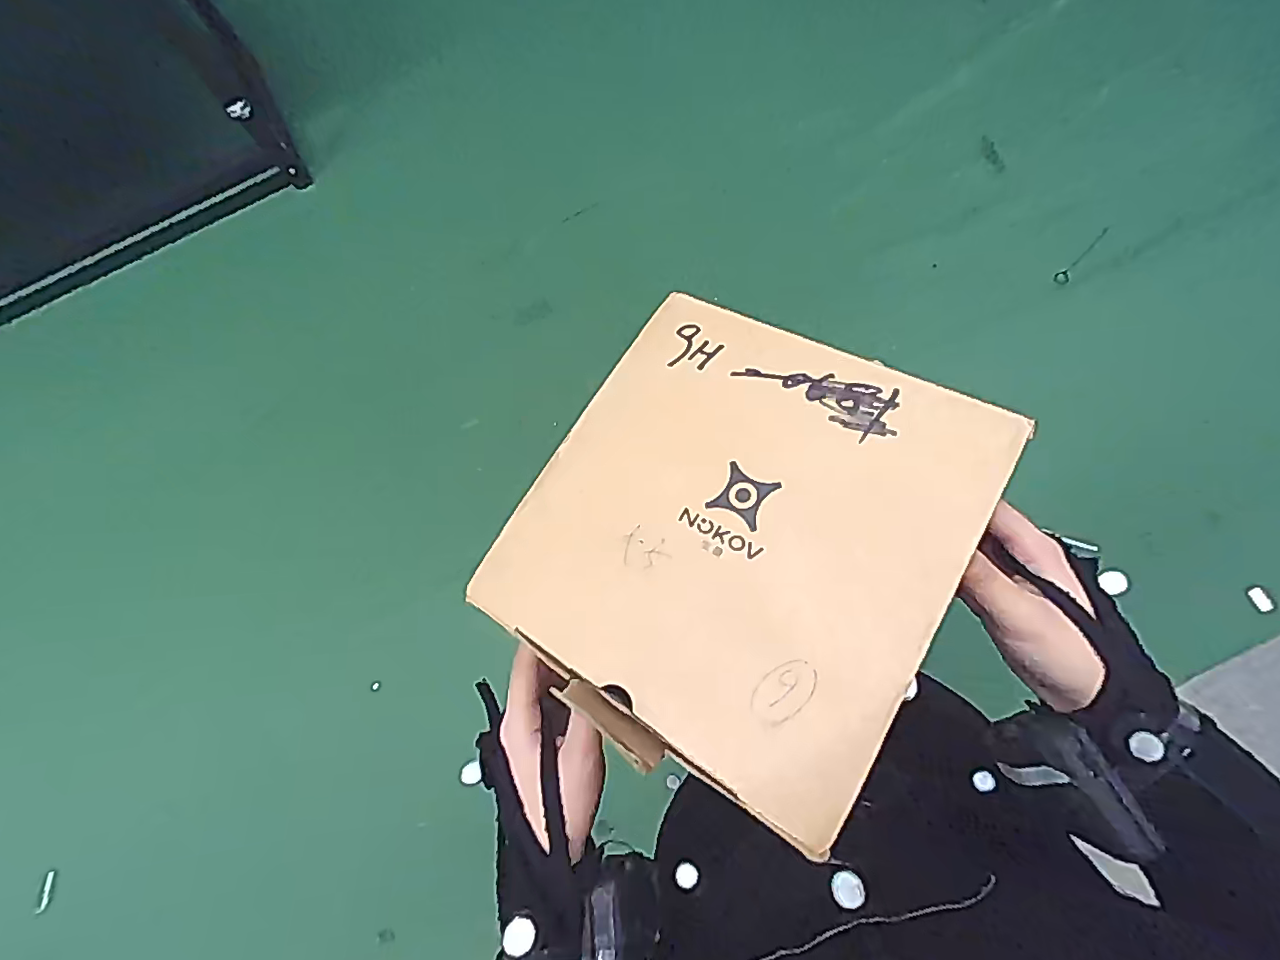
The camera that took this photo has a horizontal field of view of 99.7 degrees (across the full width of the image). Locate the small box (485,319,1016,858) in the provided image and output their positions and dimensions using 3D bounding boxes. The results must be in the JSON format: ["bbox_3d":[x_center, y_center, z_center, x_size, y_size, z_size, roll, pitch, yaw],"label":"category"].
[{"bbox_3d":[0.058,0.052,0.299,0.168,0.176,0.179,28,77,22],"label":"small box"}]
